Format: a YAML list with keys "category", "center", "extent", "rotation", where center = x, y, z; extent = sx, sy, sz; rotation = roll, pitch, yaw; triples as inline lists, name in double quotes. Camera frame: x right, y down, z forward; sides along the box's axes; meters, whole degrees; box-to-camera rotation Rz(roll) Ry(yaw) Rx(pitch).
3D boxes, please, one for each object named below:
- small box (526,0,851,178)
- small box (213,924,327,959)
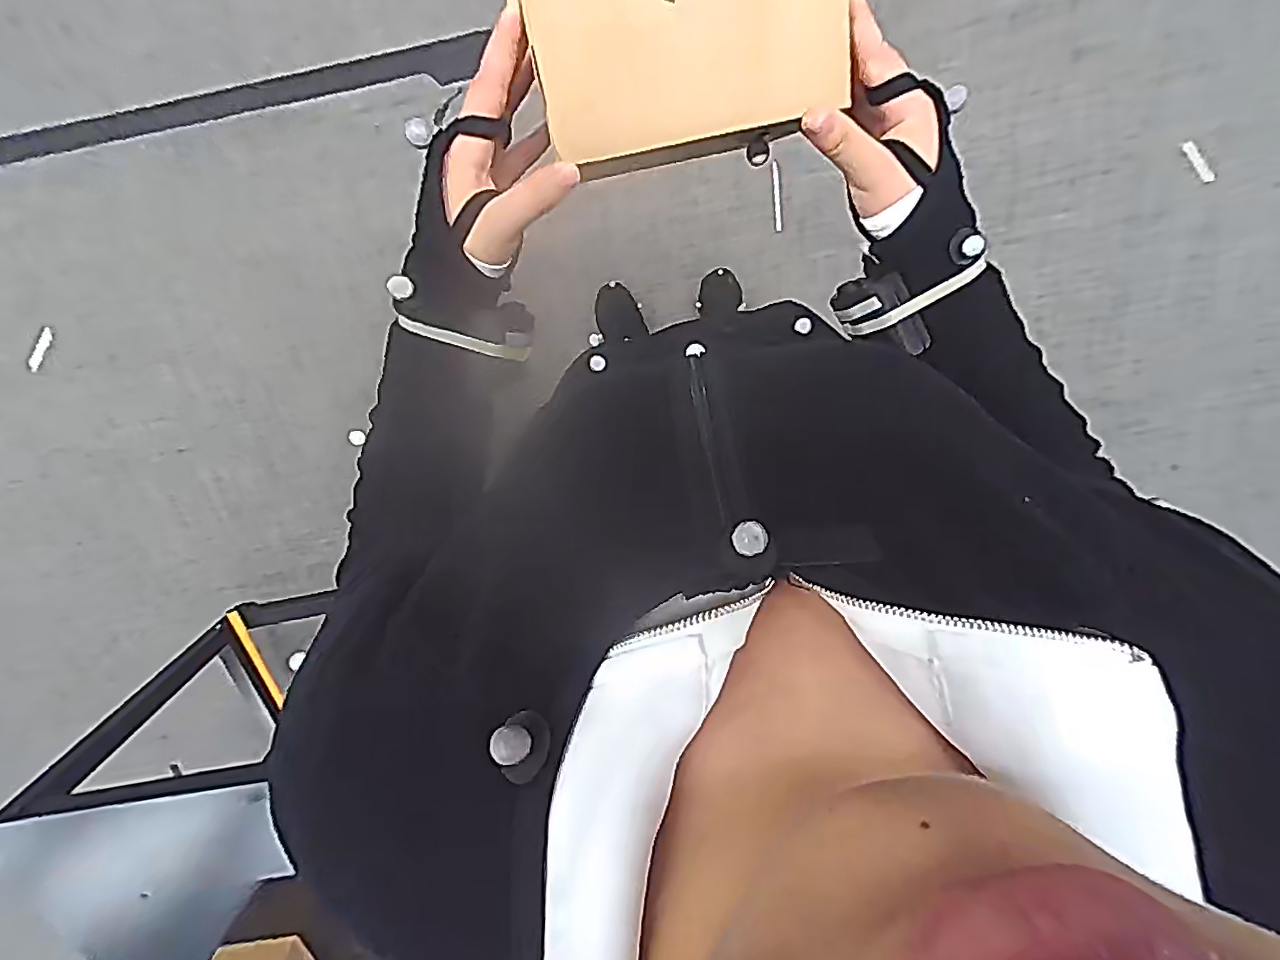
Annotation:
- category: "small box"
  center: [0.018, -0.307, 0.353]
  extent: [0.179, 0.176, 0.168]
  rotation: [-11, 117, 1]
- category: "small box"
  center: [-0.780, 1.050, 1.097]
  extent: [0.179, 0.176, 0.168]
  rotation: [-11, 113, 2]
